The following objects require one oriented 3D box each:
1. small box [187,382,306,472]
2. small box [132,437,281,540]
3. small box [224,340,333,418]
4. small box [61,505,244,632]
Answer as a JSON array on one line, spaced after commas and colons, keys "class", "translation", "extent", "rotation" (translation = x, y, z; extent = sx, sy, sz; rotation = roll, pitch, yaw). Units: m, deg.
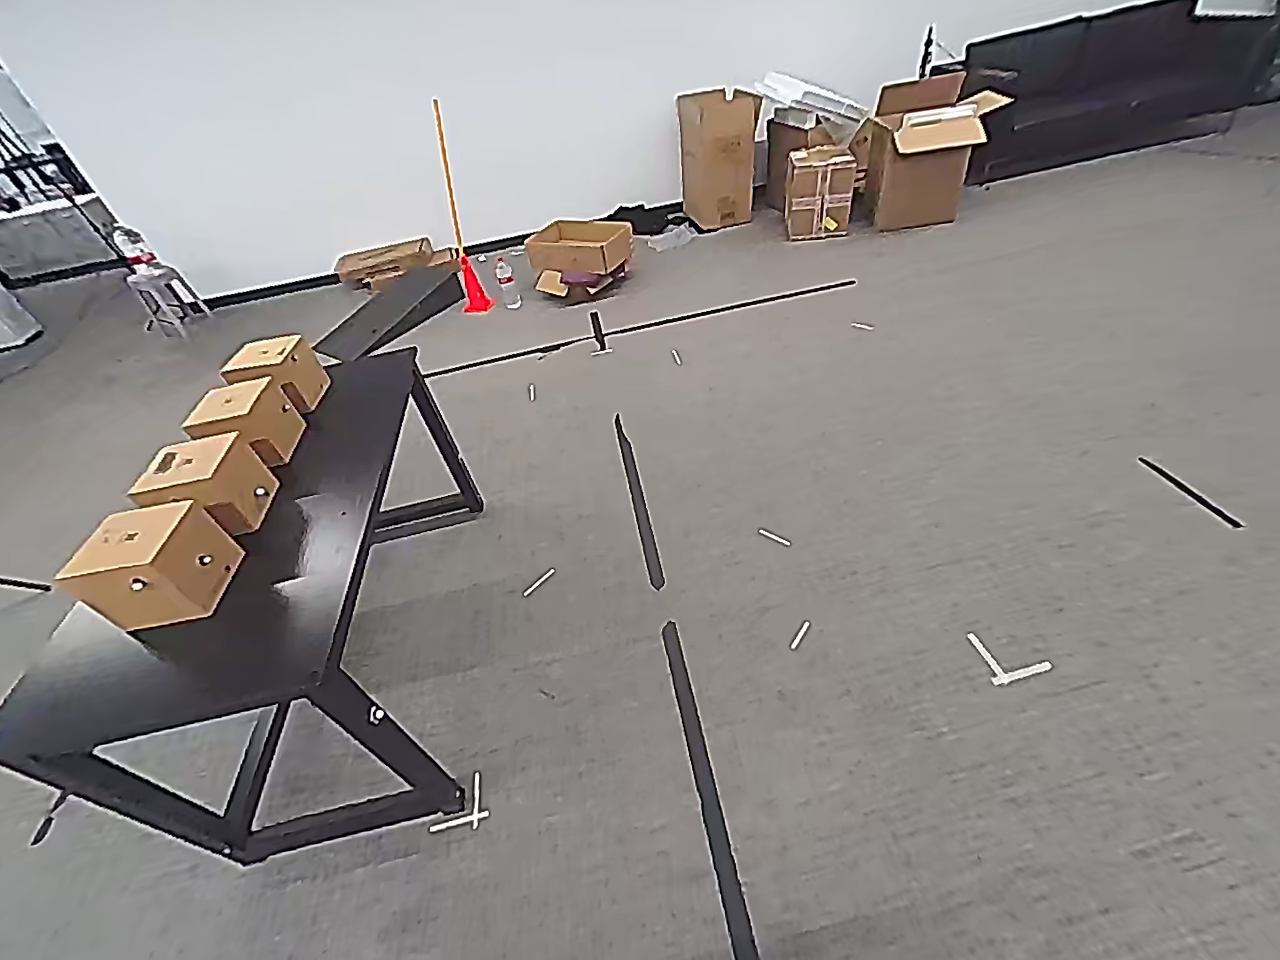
[{"class": "small box", "translation": [-1.017, -0.129, 1.421], "extent": [0.168, 0.176, 0.179], "rotation": [-14, 43, -1]}, {"class": "small box", "translation": [-0.973, 0.030, 1.235], "extent": [0.179, 0.176, 0.168], "rotation": [-13, 42, -4]}, {"class": "small box", "translation": [-1.058, -0.287, 1.599], "extent": [0.179, 0.176, 0.168], "rotation": [-10, 43, 3]}, {"class": "small box", "translation": [-0.940, 0.176, 1.068], "extent": [0.179, 0.176, 0.168], "rotation": [-11, 41, 0]}]
